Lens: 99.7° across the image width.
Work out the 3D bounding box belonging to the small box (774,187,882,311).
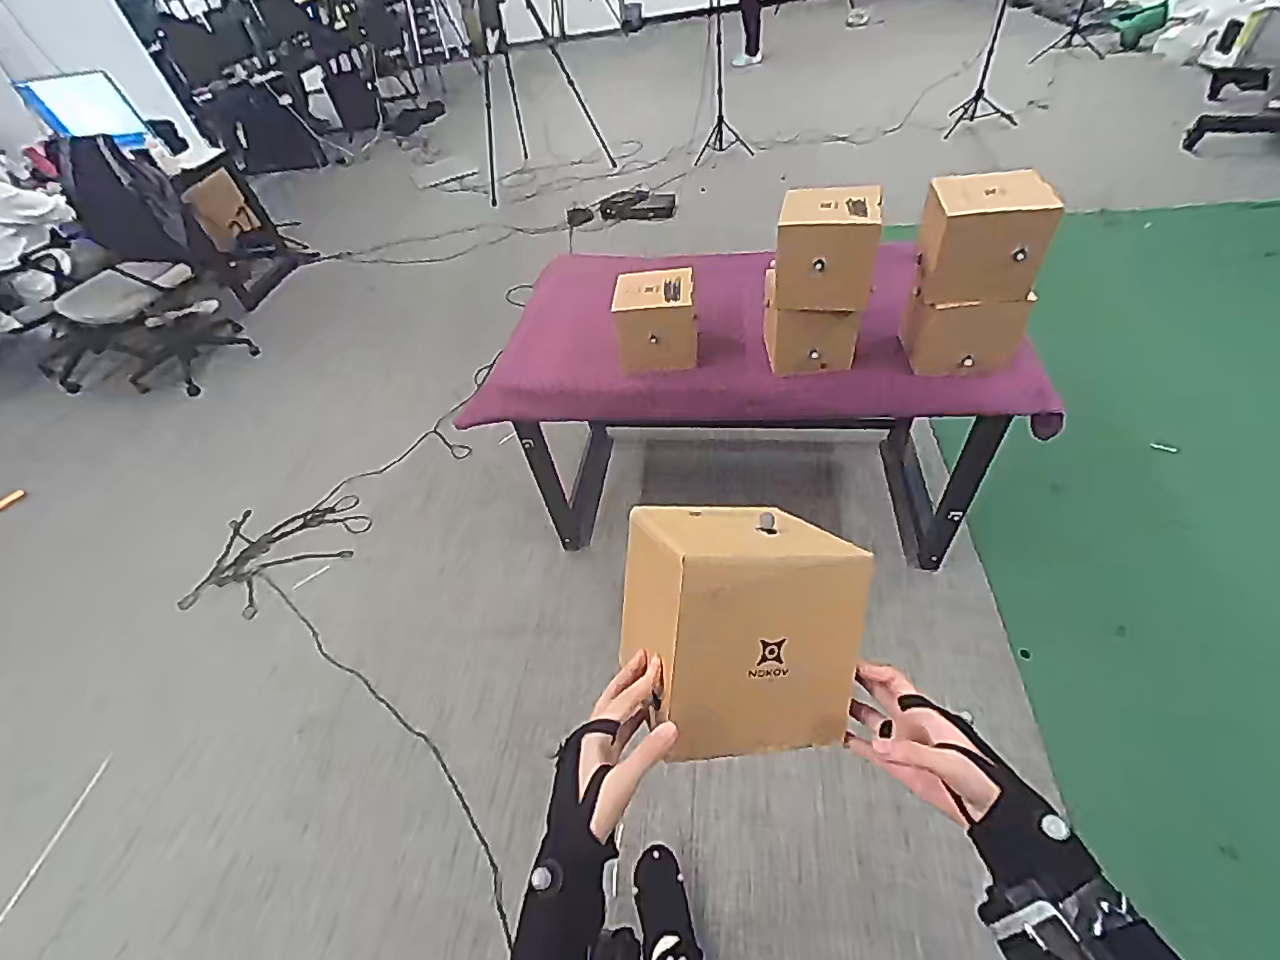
[{"bbox_3d":[0.358,-0.440,1.041,0.179,0.176,0.168,6,49,18],"label":"small box"}]

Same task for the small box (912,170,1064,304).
[{"bbox_3d":[0.622,-0.441,0.993,0.179,0.176,0.168,2,49,13],"label":"small box"}]

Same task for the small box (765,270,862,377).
[{"bbox_3d":[0.367,-0.347,1.179,0.168,0.176,0.179,-4,47,7],"label":"small box"}]

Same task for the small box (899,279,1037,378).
[{"bbox_3d":[0.656,-0.327,1.106,0.179,0.176,0.168,-2,48,9],"label":"small box"}]
